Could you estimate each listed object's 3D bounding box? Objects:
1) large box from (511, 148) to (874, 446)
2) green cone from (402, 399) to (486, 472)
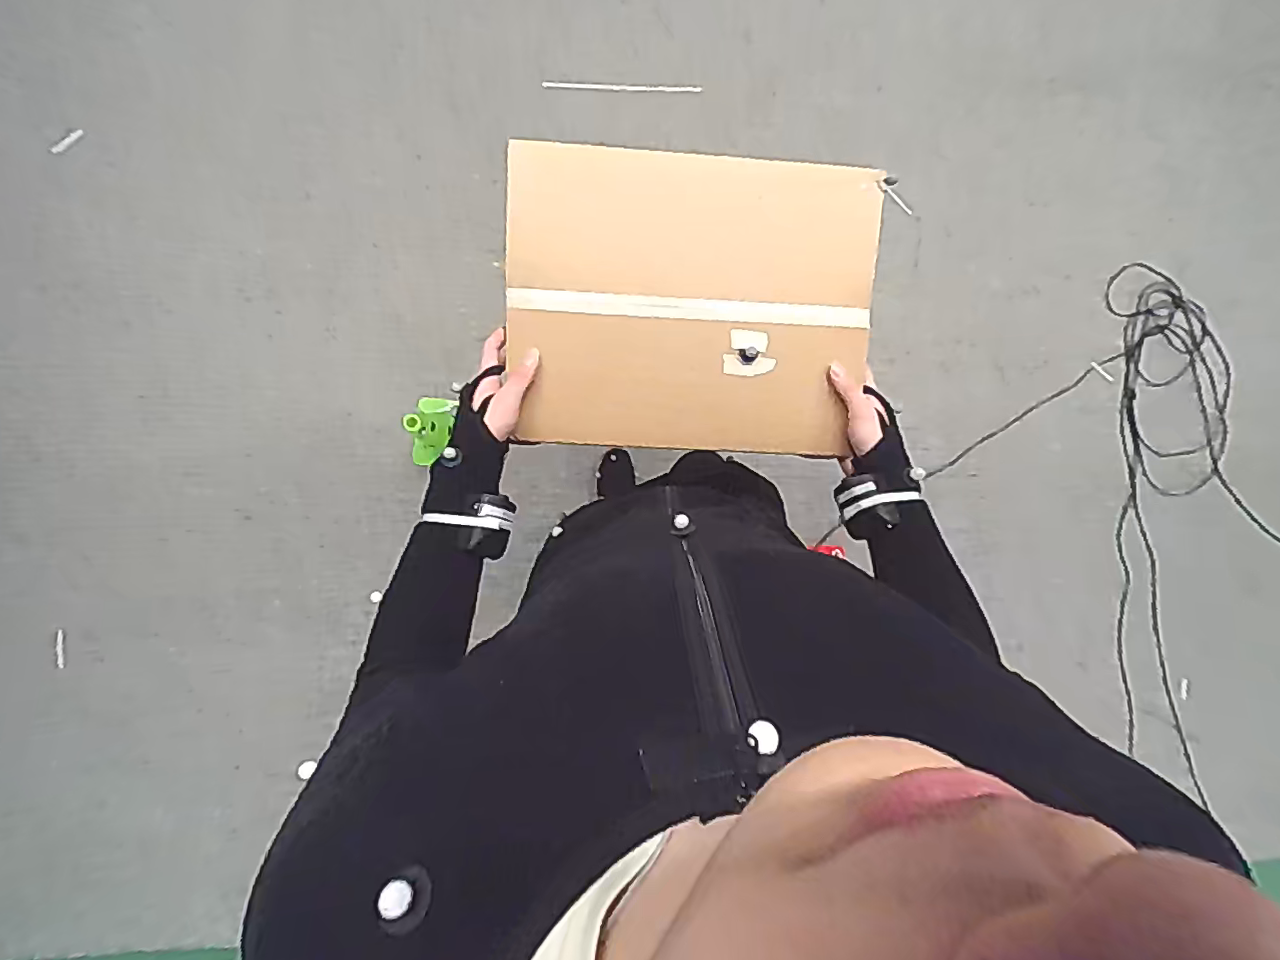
[{"bbox_3d":[0.046,-0.219,0.752,0.408,0.320,0.320,2,100,-4],"label":"large box"},{"bbox_3d":[-0.543,-0.125,1.412,0.200,0.368,0.202,5,91,-5],"label":"green cone"}]
